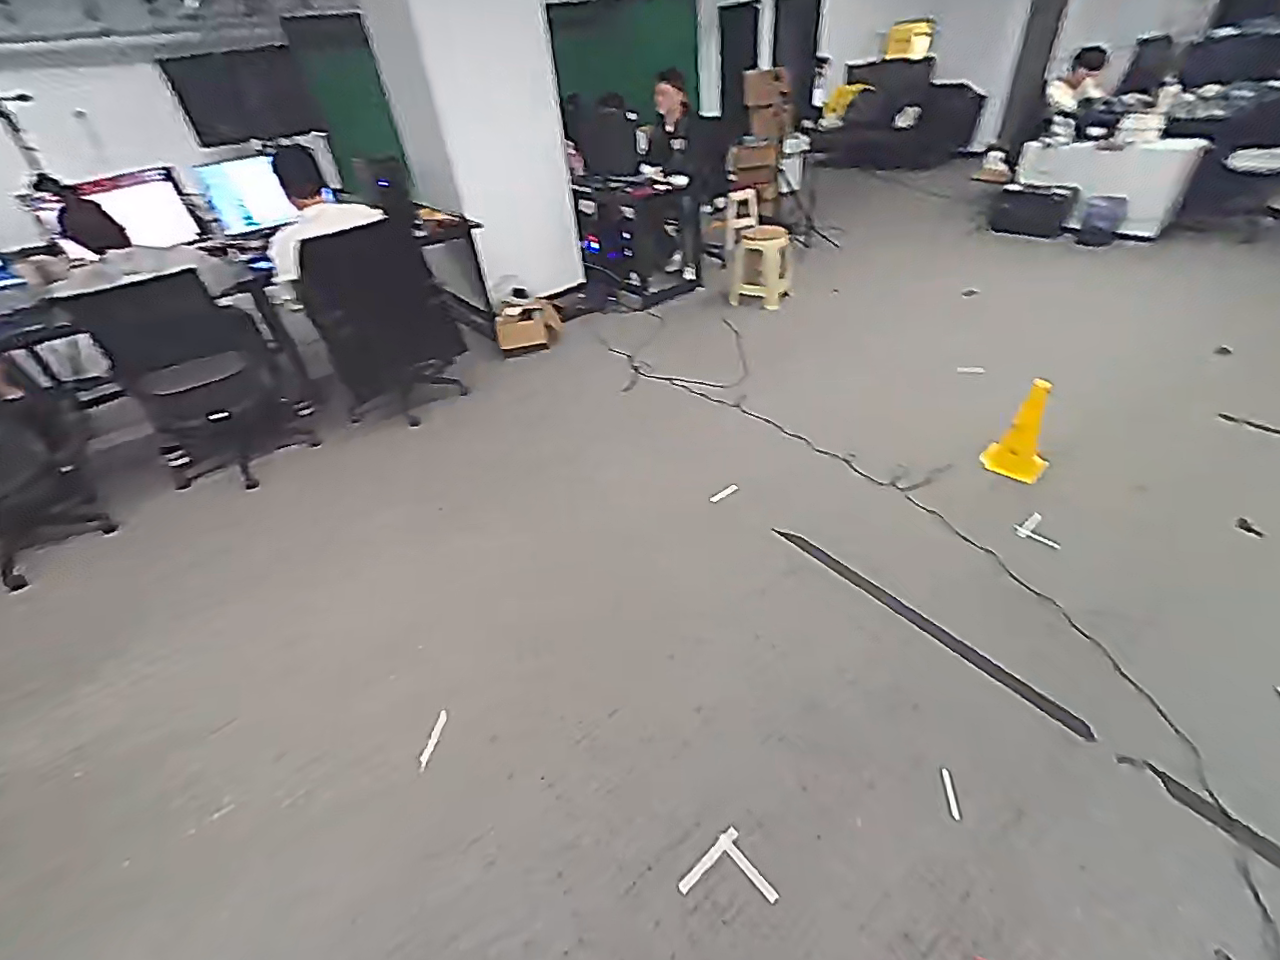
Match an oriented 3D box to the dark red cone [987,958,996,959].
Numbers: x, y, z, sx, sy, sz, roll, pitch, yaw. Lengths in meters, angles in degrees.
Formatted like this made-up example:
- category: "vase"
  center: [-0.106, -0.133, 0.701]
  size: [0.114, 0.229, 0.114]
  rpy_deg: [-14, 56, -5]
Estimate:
- category: "dark red cone"
  center: [0.628, 0.824, 0.789]
  size: [0.202, 0.394, 0.201]
  rpy_deg: [28, 48, 37]
